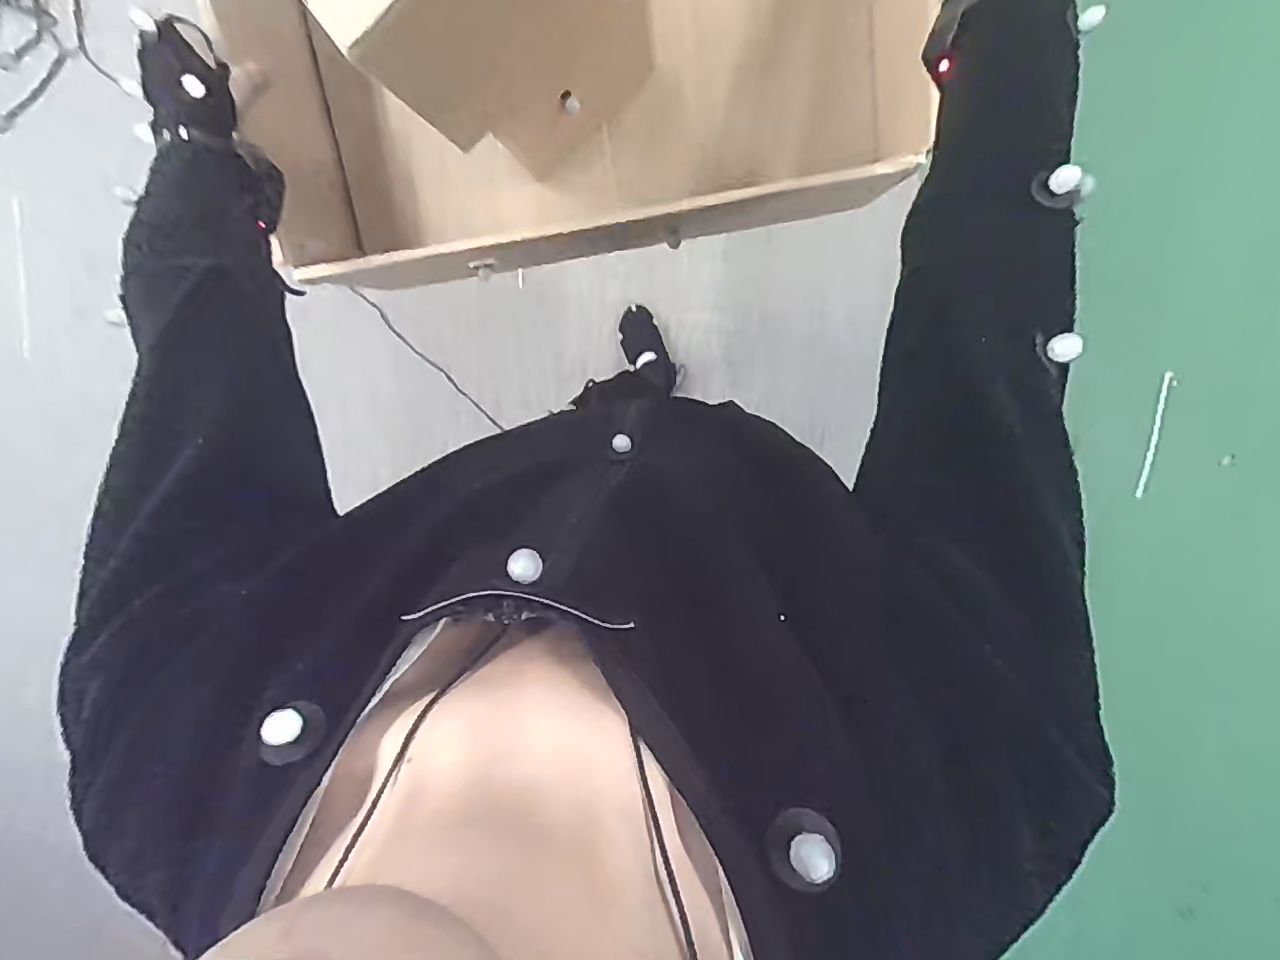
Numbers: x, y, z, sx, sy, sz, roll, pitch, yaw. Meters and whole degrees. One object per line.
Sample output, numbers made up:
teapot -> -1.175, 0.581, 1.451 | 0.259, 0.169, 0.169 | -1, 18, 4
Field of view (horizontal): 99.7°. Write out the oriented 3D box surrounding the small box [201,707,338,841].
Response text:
small box -> -0.856, 0.679, 1.267 | 0.168, 0.176, 0.179 | 40, 100, 0

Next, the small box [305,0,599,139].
small box -> -0.137, -0.370, 0.345 | 0.179, 0.176, 0.168 | -35, 98, 13

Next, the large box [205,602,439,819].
large box -> -0.859, 0.617, 1.507 | 0.408, 0.320, 0.320 | 37, 99, 2
